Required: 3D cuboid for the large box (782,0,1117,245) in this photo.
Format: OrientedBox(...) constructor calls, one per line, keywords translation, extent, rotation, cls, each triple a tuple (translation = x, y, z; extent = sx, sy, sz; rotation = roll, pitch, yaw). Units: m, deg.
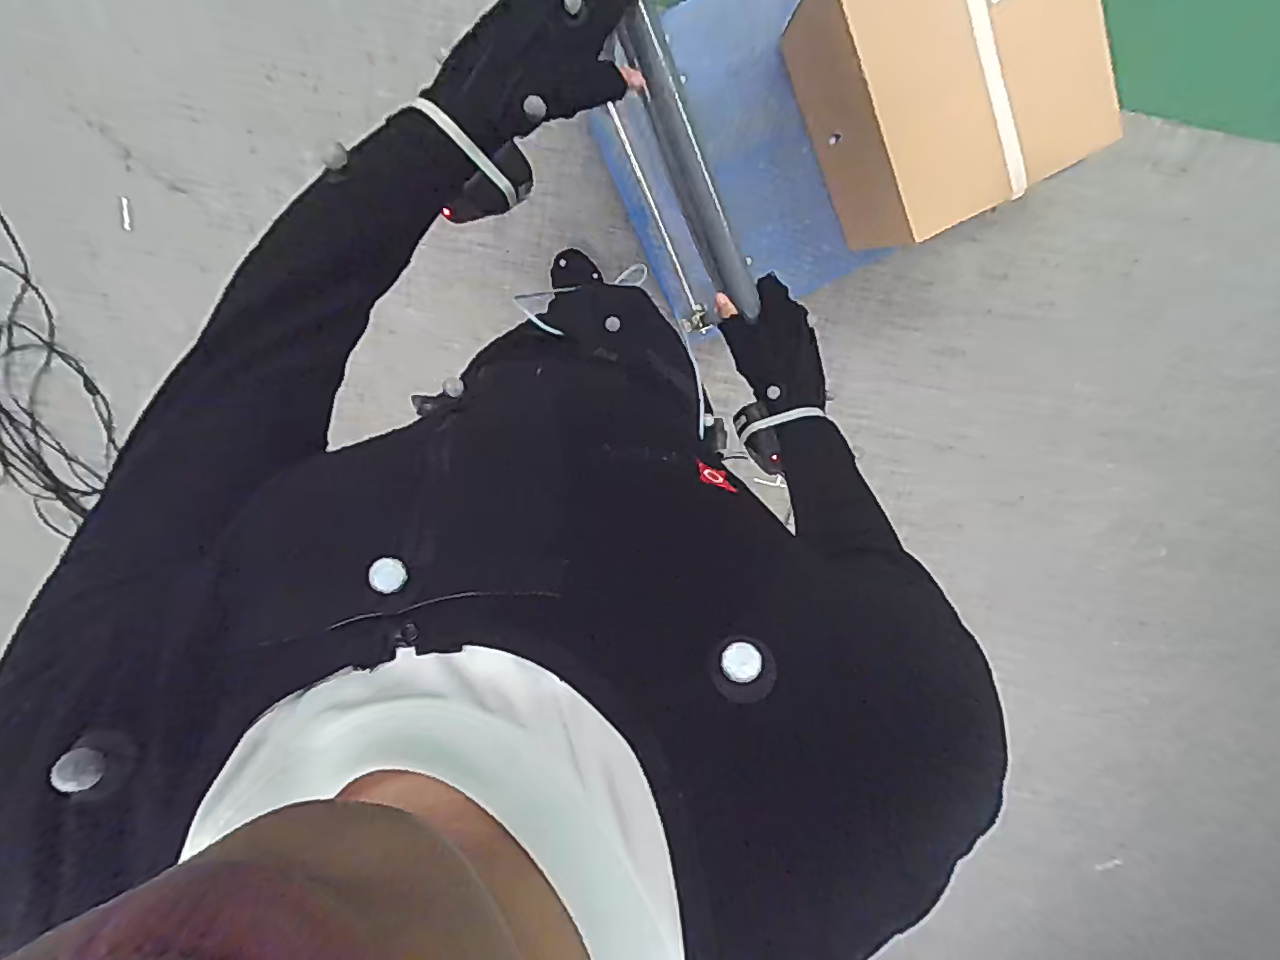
OrientedBox(translation=(0.481, -0.662, 0.902), extent=(0.320, 0.320, 0.408), rotation=(-26, 108, 10), cls="large box")
